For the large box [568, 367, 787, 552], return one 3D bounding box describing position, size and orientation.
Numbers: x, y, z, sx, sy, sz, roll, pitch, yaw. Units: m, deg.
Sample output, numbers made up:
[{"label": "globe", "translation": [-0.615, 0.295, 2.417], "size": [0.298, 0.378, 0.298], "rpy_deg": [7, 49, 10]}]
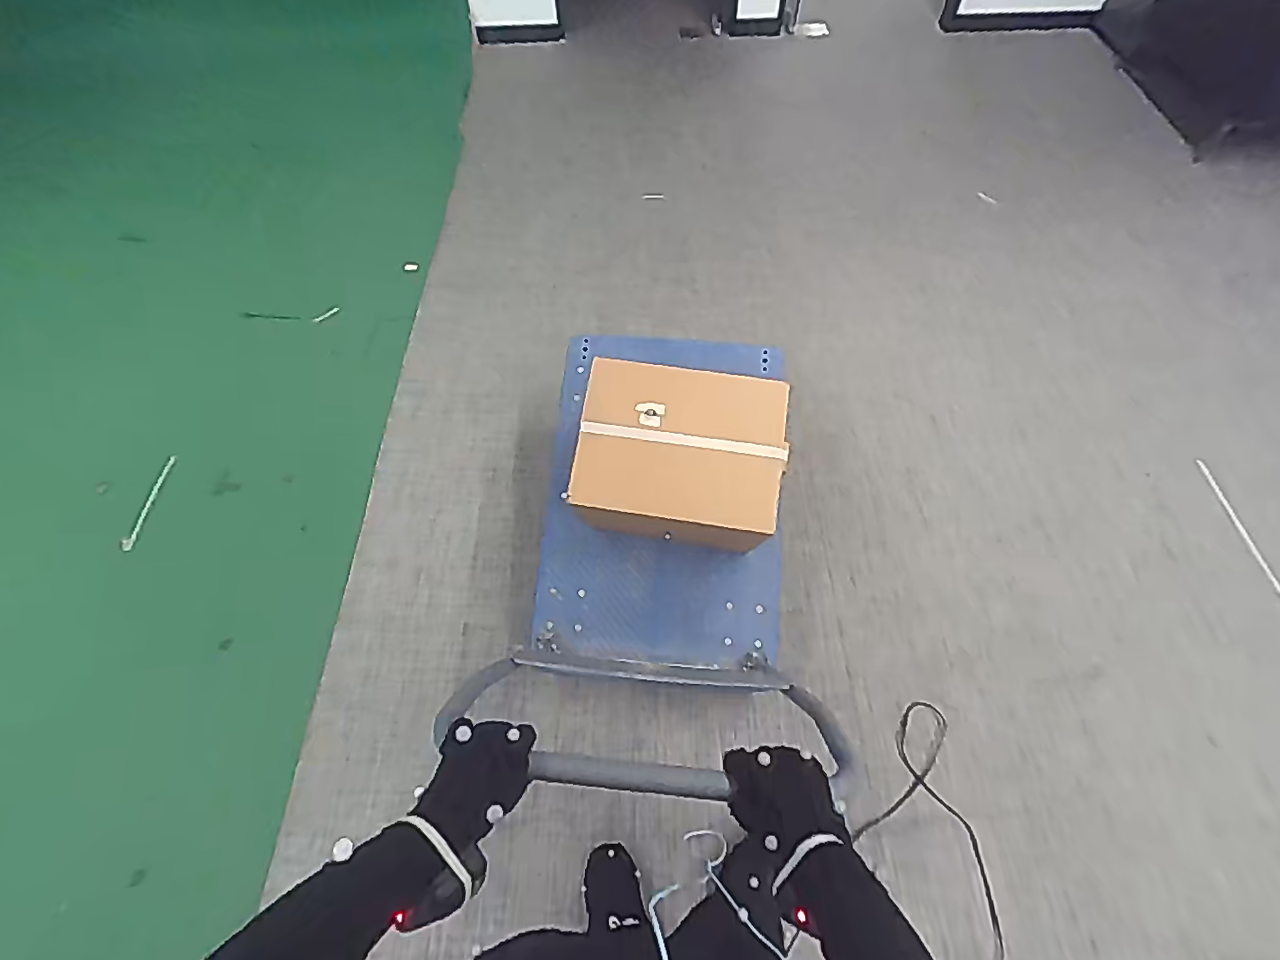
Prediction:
[{"label": "large box", "translation": [0.088, -0.028, 1.208], "size": [0.408, 0.320, 0.320], "rpy_deg": [9, 77, 5]}]
